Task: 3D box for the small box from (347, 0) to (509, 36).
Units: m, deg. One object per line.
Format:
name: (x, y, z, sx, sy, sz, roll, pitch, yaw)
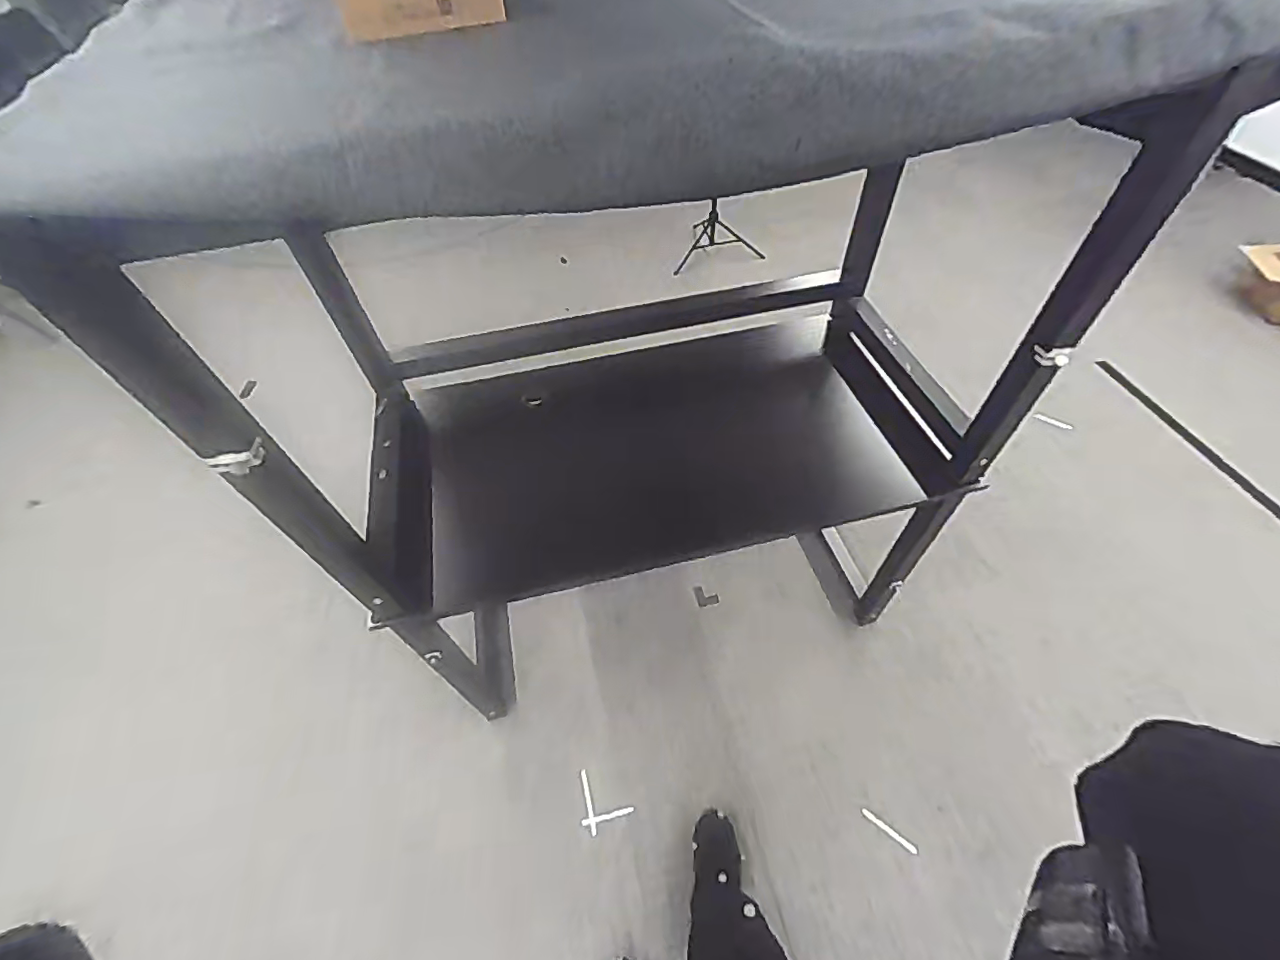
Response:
small box: (-0.247, -0.594, 0.566, 0.168, 0.176, 0.179, -16, 53, -9)
